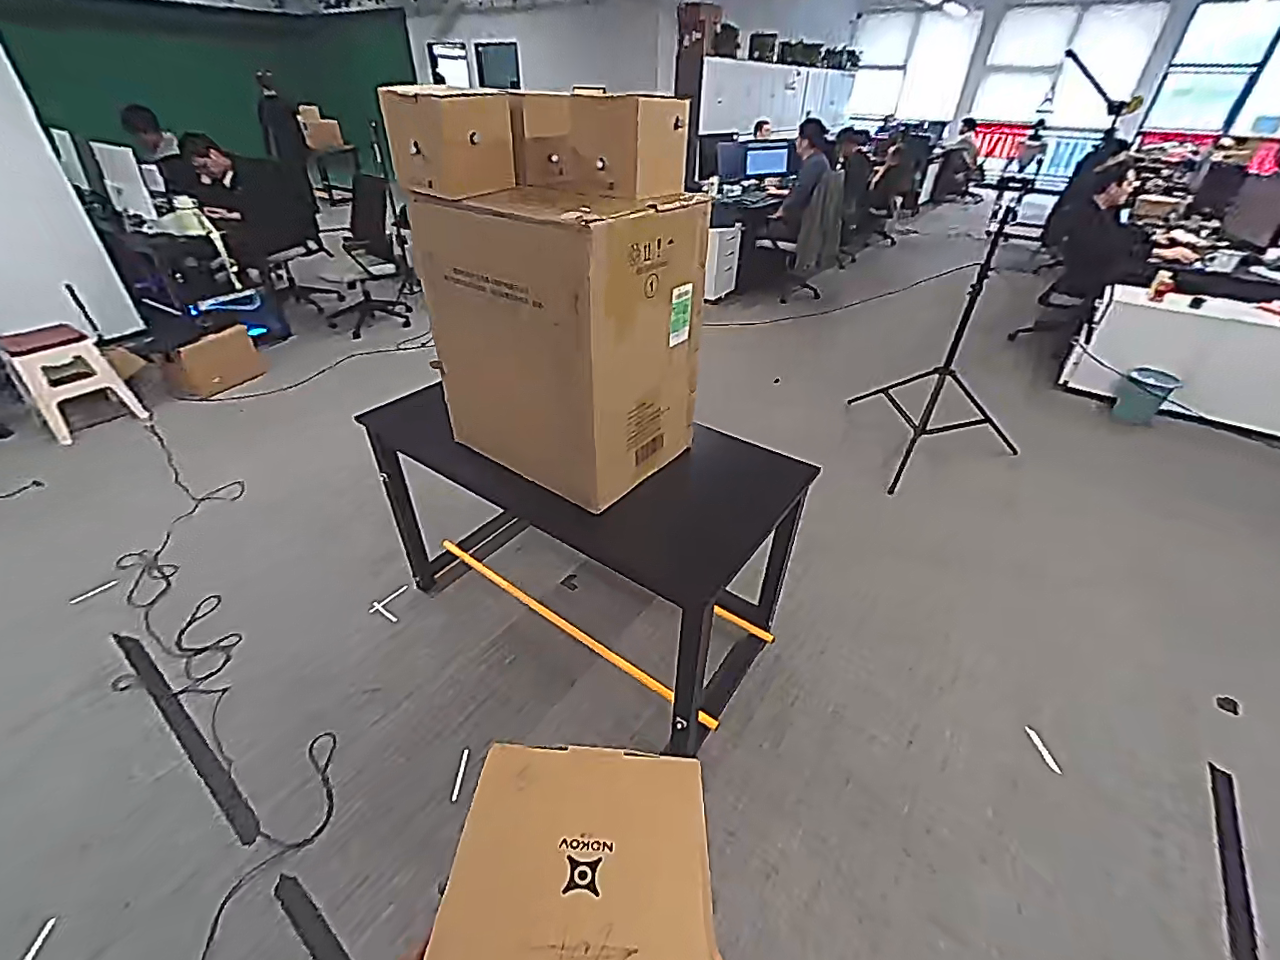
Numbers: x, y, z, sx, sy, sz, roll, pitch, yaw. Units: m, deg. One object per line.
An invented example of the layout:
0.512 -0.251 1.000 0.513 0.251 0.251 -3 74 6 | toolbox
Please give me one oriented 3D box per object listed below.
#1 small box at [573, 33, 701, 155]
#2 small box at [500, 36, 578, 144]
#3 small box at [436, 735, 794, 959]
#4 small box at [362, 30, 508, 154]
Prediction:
-0.008 -0.709 1.002 0.168 0.176 0.179 22 39 28 | small box
-0.245 -0.809 1.128 0.179 0.176 0.168 26 42 27 | small box
-0.017 0.279 0.303 0.168 0.176 0.179 5 26 -2 | small box
-0.360 -0.711 0.989 0.168 0.176 0.179 24 45 22 | small box
